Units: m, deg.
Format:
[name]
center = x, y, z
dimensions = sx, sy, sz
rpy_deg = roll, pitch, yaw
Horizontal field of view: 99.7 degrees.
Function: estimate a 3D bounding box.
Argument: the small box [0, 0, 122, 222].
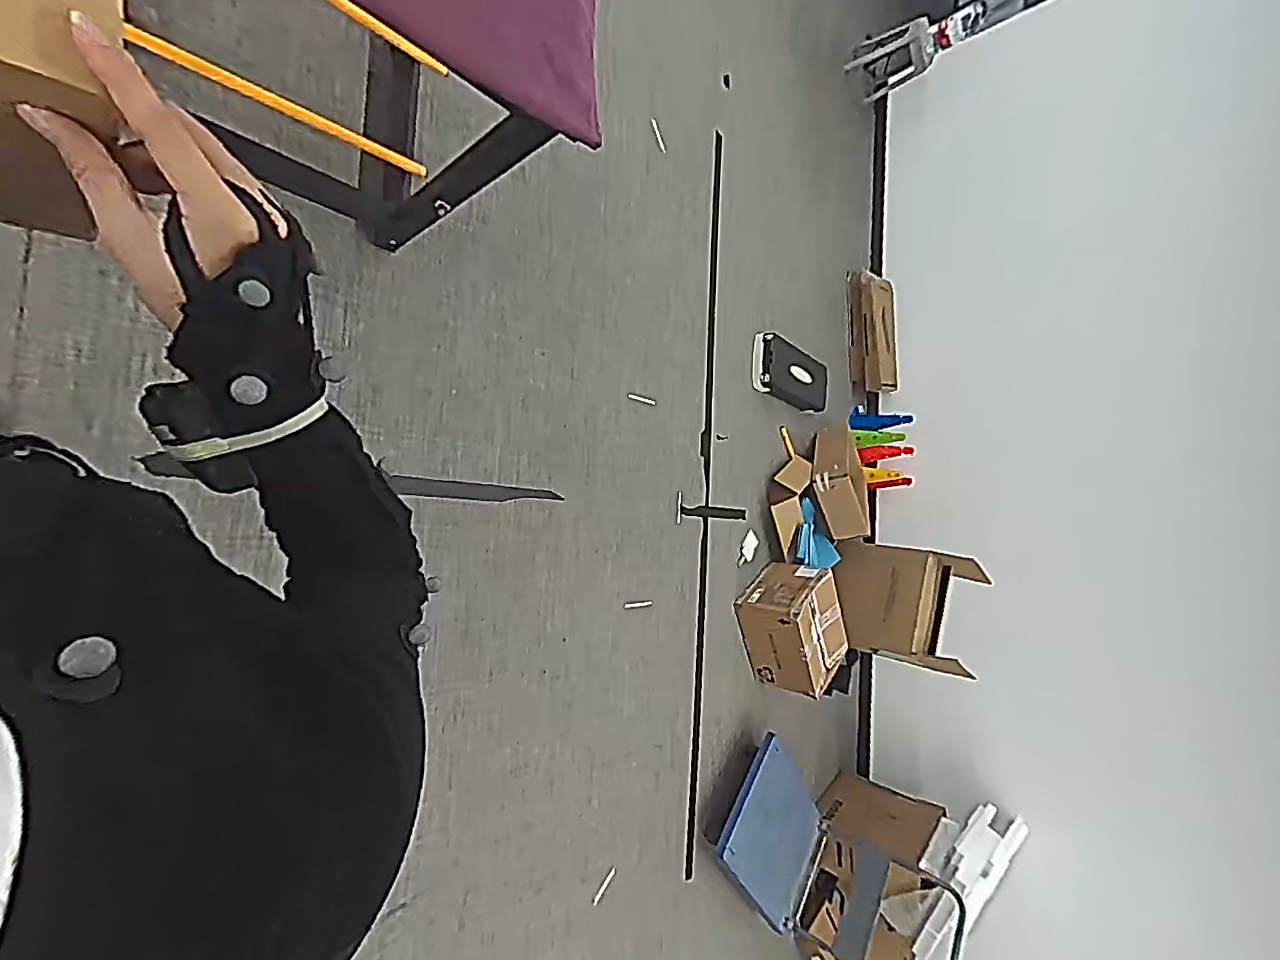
[small box]
center = -0.340, -0.243, 0.229
dimensions = 0.168, 0.176, 0.179
rpy_deg = 0, 87, -49
